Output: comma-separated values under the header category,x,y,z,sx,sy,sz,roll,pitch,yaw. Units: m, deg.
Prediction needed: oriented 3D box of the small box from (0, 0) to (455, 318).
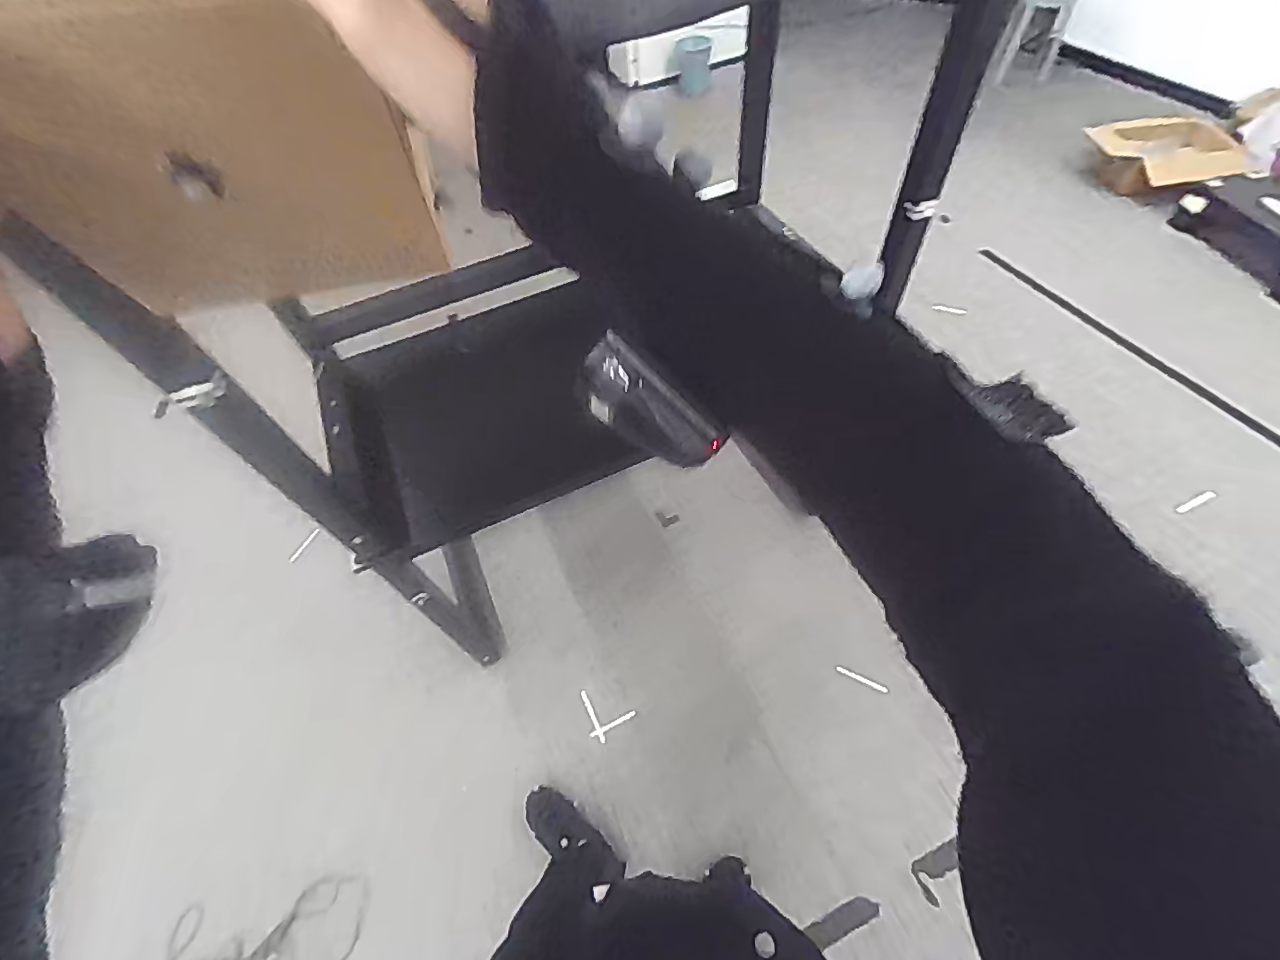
category,x,y,z,sx,sy,sz,roll,pitch,yaw
small box,-0.209,-0.211,0.290,0.179,0.176,0.168,-12,75,-8
